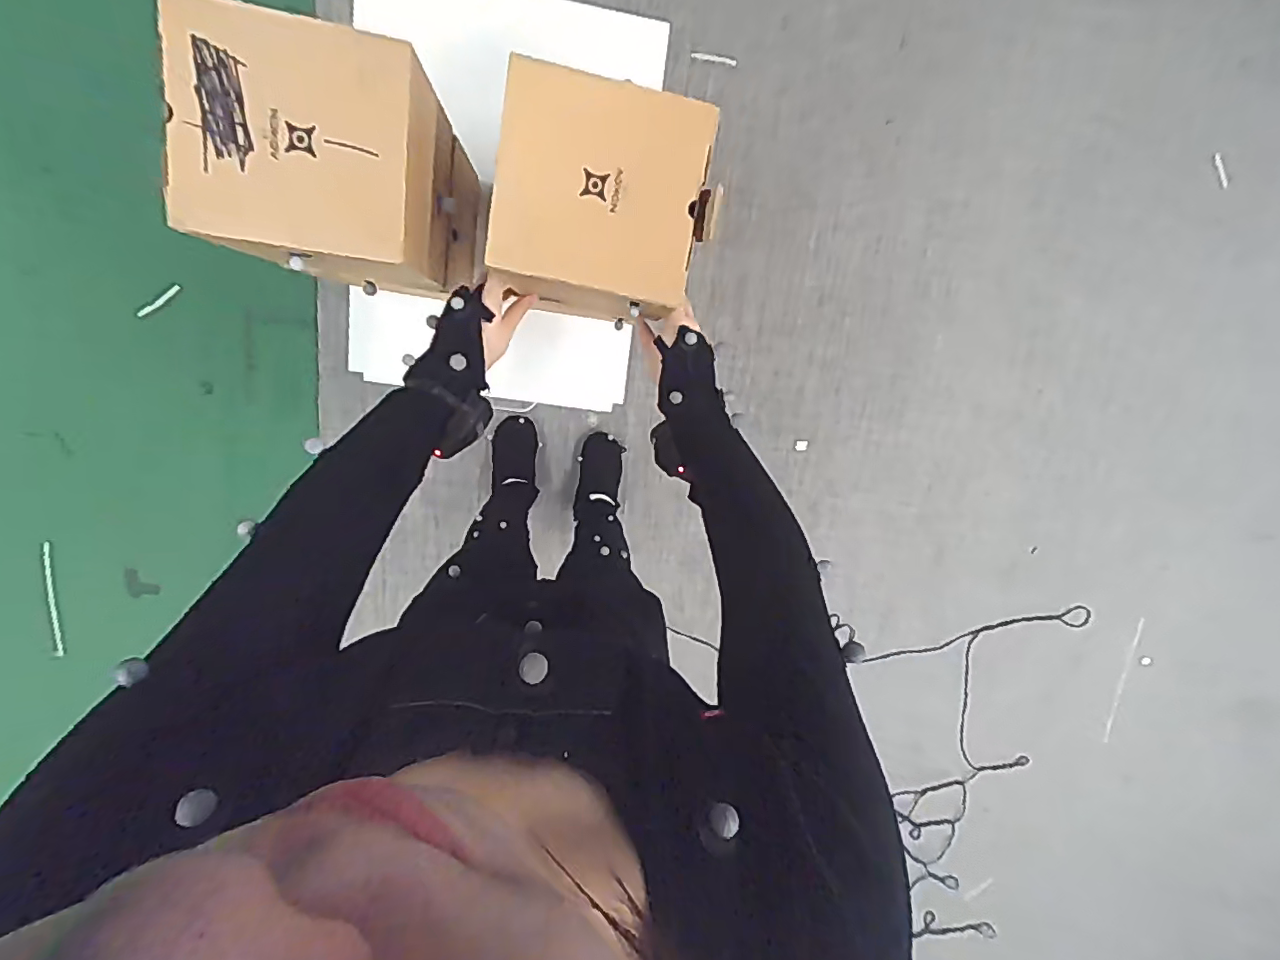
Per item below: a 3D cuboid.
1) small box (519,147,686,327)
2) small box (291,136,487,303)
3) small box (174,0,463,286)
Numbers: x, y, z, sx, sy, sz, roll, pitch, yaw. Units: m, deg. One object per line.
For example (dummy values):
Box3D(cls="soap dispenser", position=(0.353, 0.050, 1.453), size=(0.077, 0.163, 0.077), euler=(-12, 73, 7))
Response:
Box3D(cls="small box", position=(-0.050, -0.292, 0.692), size=(0.179, 0.176, 0.168), euler=(6, 101, -6))
Box3D(cls="small box", position=(-0.293, -0.316, 0.657), size=(0.179, 0.176, 0.168), euler=(6, 103, -10))
Box3D(cls="small box", position=(-0.273, -0.281, 0.496), size=(0.179, 0.176, 0.168), euler=(6, 103, -10))
